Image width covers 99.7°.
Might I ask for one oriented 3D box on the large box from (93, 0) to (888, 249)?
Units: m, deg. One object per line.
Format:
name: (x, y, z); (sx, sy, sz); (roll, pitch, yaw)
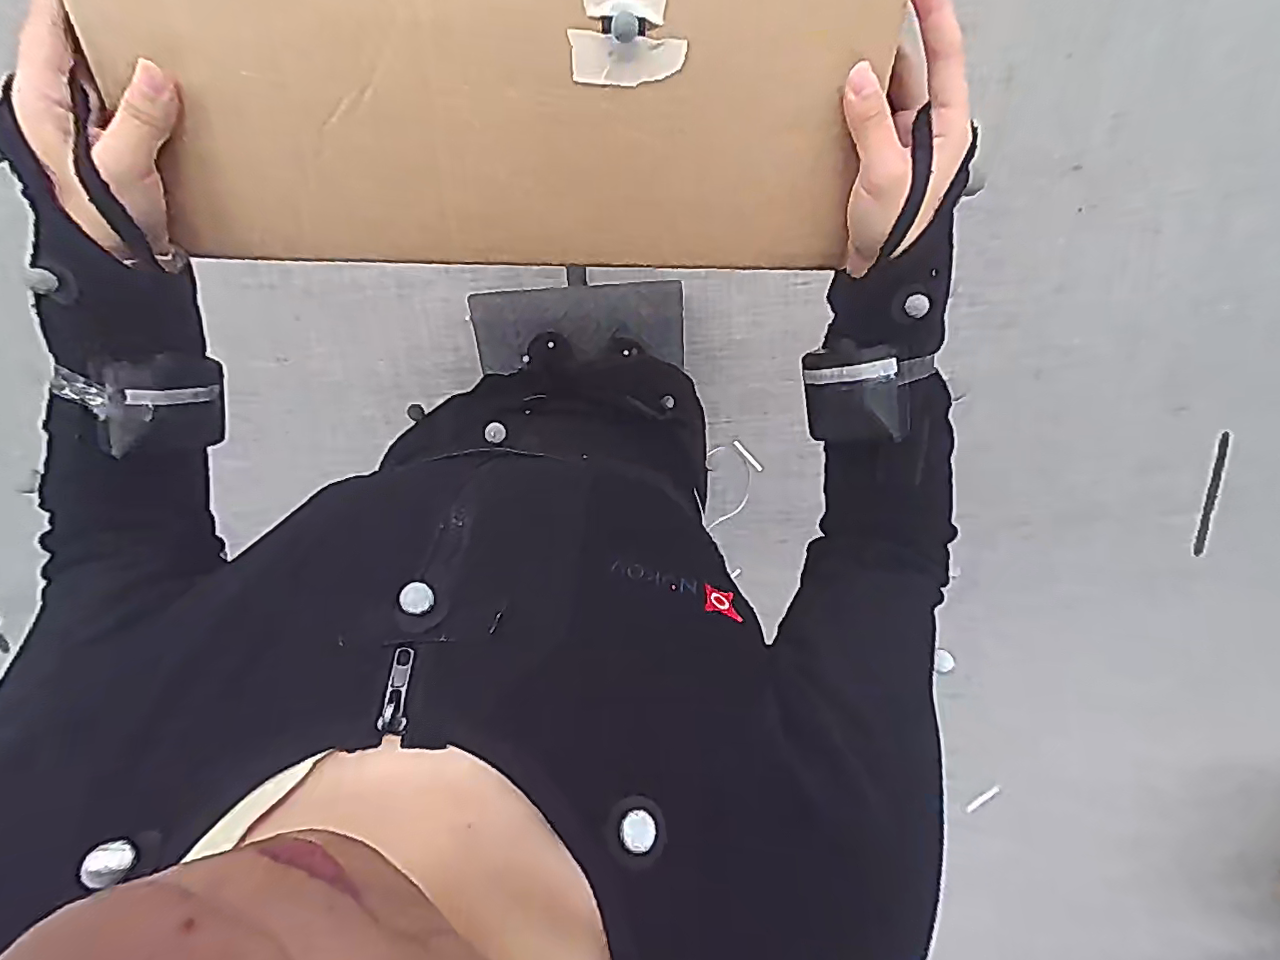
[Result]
large box: (-0.076, -0.352, 0.378); (0.408, 0.320, 0.320); (0, 123, -2)

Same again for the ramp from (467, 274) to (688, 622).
ramp: (-0.118, -0.014, 1.453); (0.509, 0.206, 0.991); (-6, 108, -1)
